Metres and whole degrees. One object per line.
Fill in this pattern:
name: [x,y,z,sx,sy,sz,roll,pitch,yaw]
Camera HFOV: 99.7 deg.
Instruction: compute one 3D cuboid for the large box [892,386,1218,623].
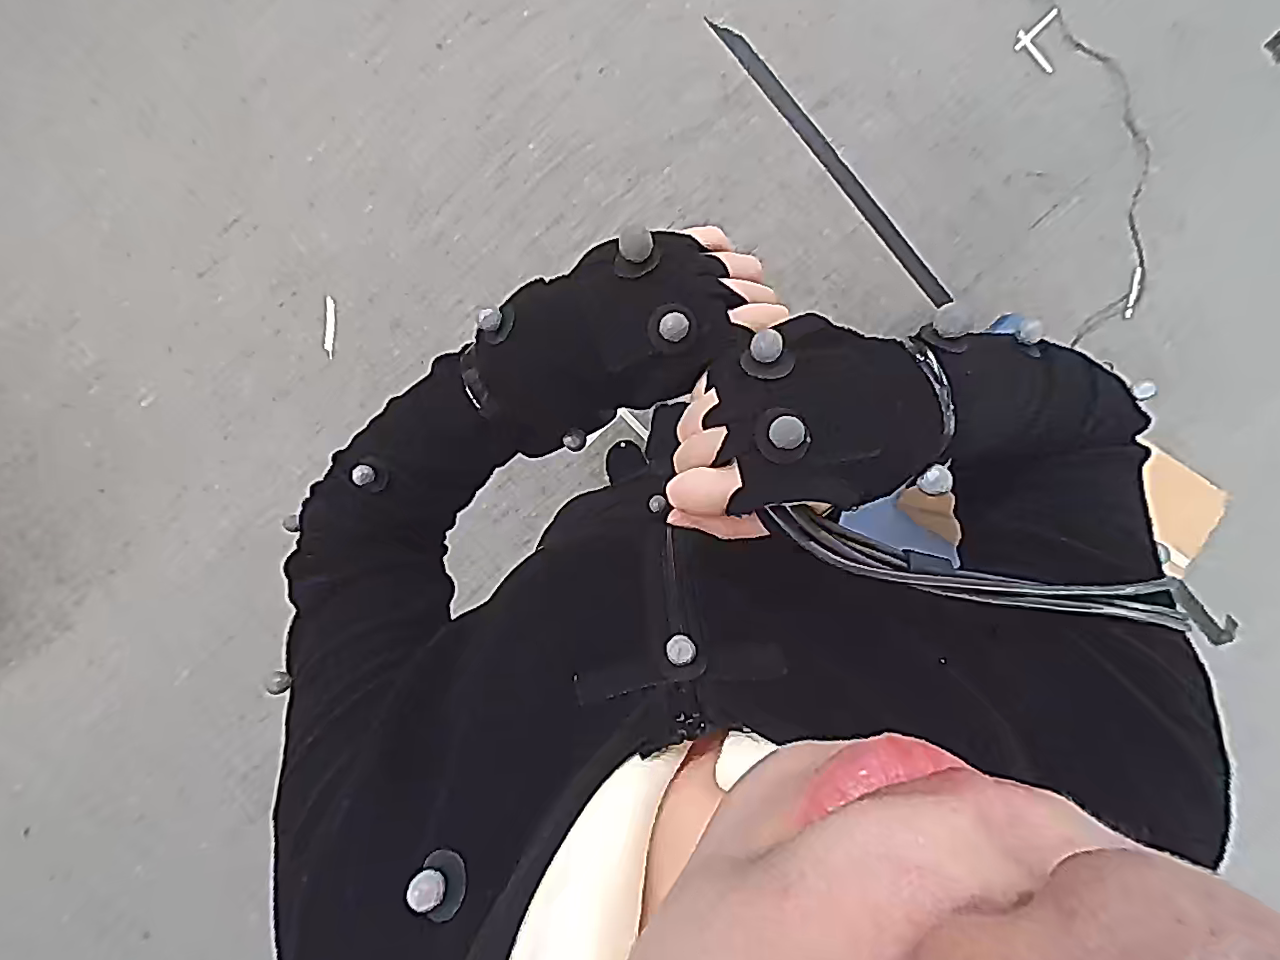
large box: [0.861,0.042,1.182,0.408,0.320,0.320,33,93,-3]
